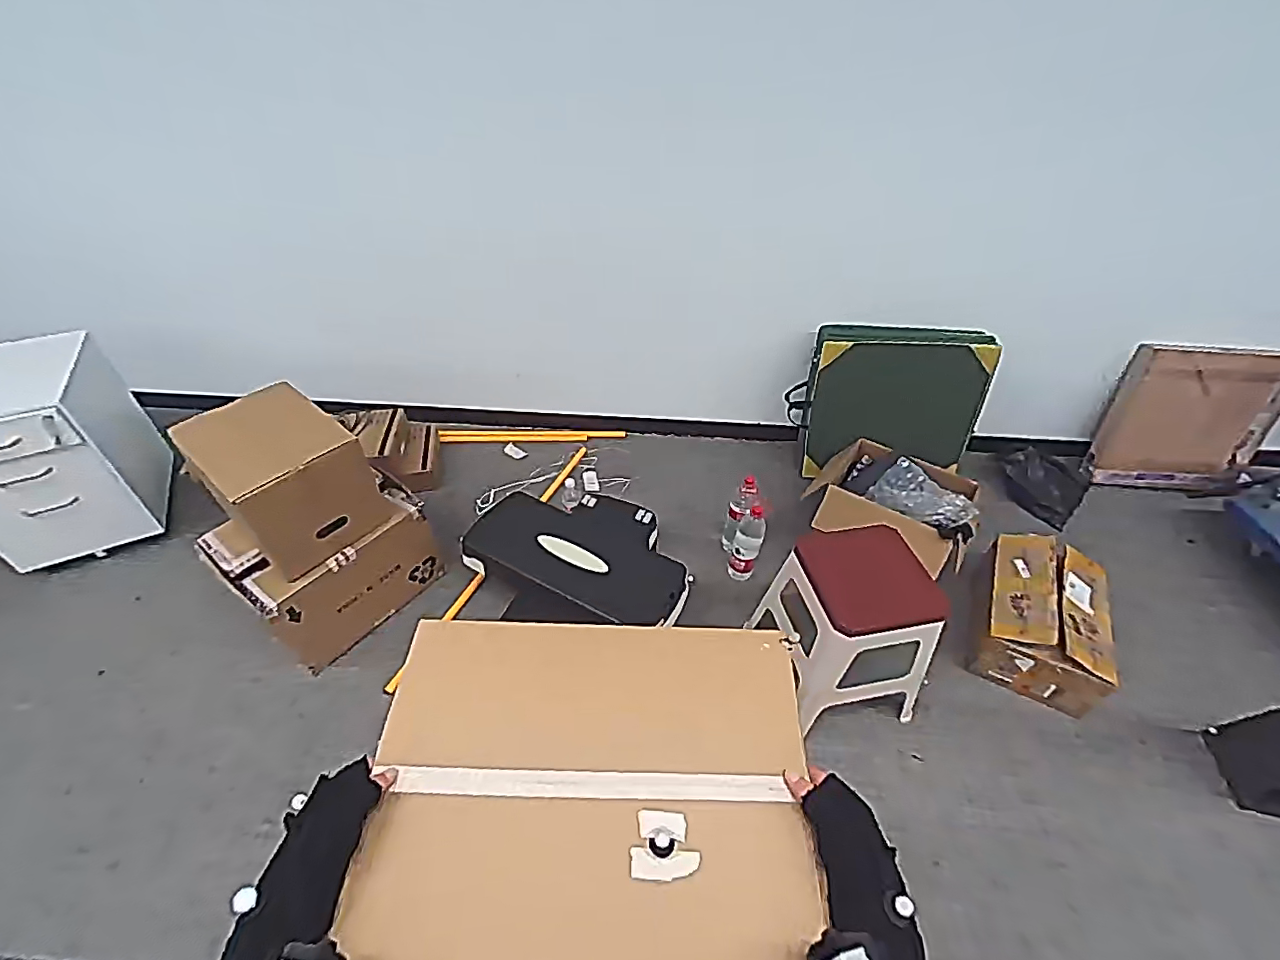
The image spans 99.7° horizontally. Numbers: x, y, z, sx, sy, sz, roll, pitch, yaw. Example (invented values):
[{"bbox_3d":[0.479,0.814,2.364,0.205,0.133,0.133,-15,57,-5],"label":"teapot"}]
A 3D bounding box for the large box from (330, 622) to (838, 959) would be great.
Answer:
[{"bbox_3d":[-0.045,0.377,0.616,0.408,0.320,0.320,2,50,0],"label":"large box"}]
